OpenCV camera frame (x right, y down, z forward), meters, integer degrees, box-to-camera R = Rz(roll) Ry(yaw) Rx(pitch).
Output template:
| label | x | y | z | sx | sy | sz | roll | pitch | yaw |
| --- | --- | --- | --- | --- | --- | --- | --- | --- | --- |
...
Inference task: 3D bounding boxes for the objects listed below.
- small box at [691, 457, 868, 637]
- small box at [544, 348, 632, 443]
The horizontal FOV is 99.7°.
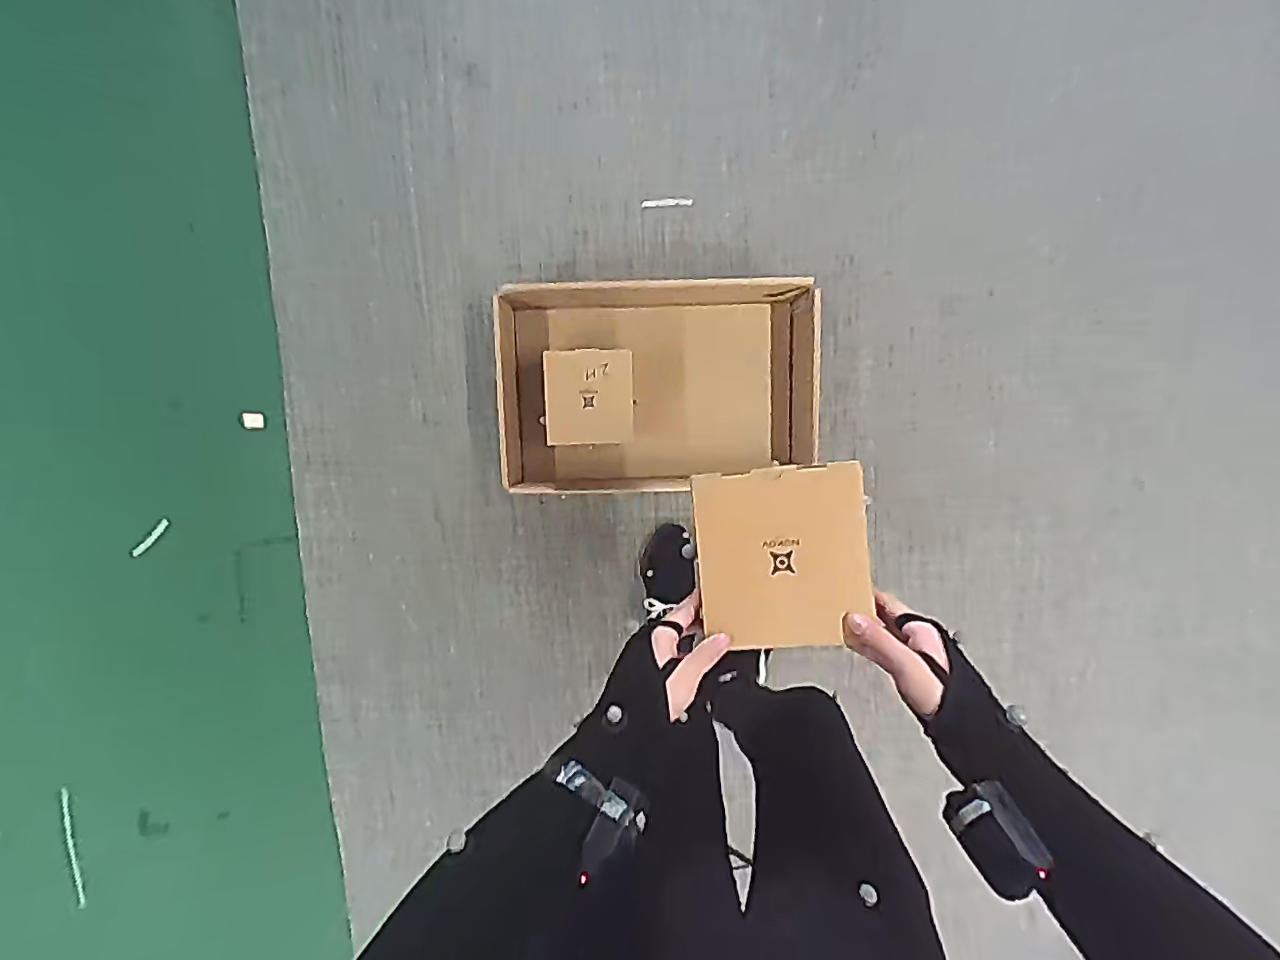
| label | x | y | z | sx | sy | sz | roll | pitch | yaw |
| --- | --- | --- | --- | --- | --- | --- | --- | --- | --- |
| small box | 0.151 | 0.070 | 0.624 | 0.168 | 0.176 | 0.179 | -5 | 87 | 8 |
| small box | -0.098 | -0.169 | 1.090 | 0.168 | 0.176 | 0.179 | -1 | 97 | -2 |
